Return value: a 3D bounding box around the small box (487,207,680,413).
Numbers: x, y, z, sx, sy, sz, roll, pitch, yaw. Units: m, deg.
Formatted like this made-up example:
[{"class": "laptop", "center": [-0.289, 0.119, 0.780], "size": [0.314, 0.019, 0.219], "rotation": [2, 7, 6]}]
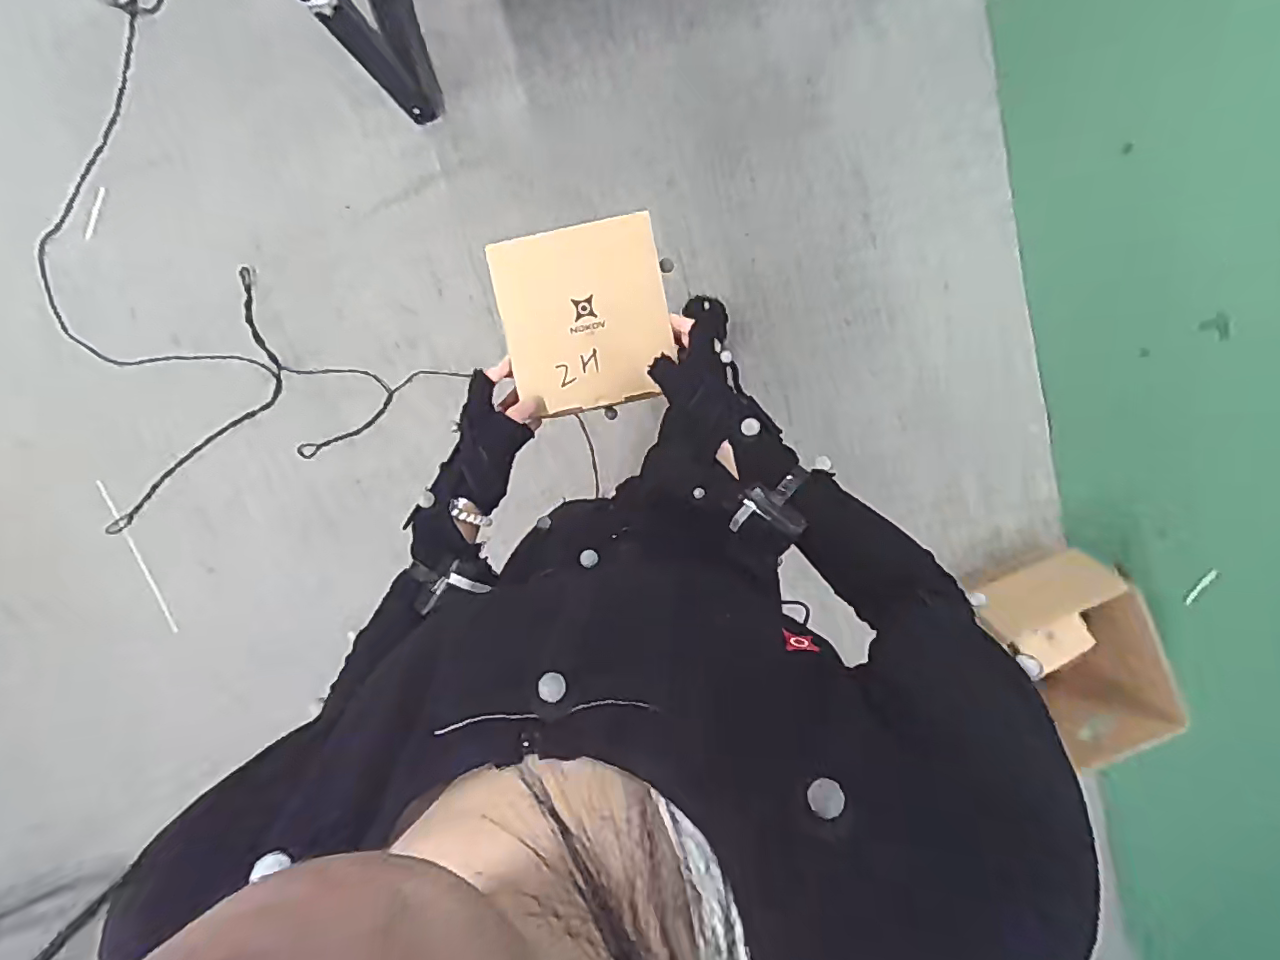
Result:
[{"class": "small box", "center": [-0.055, -0.175, 0.613], "size": [0.168, 0.176, 0.179], "rotation": [-12, 97, 2]}]
